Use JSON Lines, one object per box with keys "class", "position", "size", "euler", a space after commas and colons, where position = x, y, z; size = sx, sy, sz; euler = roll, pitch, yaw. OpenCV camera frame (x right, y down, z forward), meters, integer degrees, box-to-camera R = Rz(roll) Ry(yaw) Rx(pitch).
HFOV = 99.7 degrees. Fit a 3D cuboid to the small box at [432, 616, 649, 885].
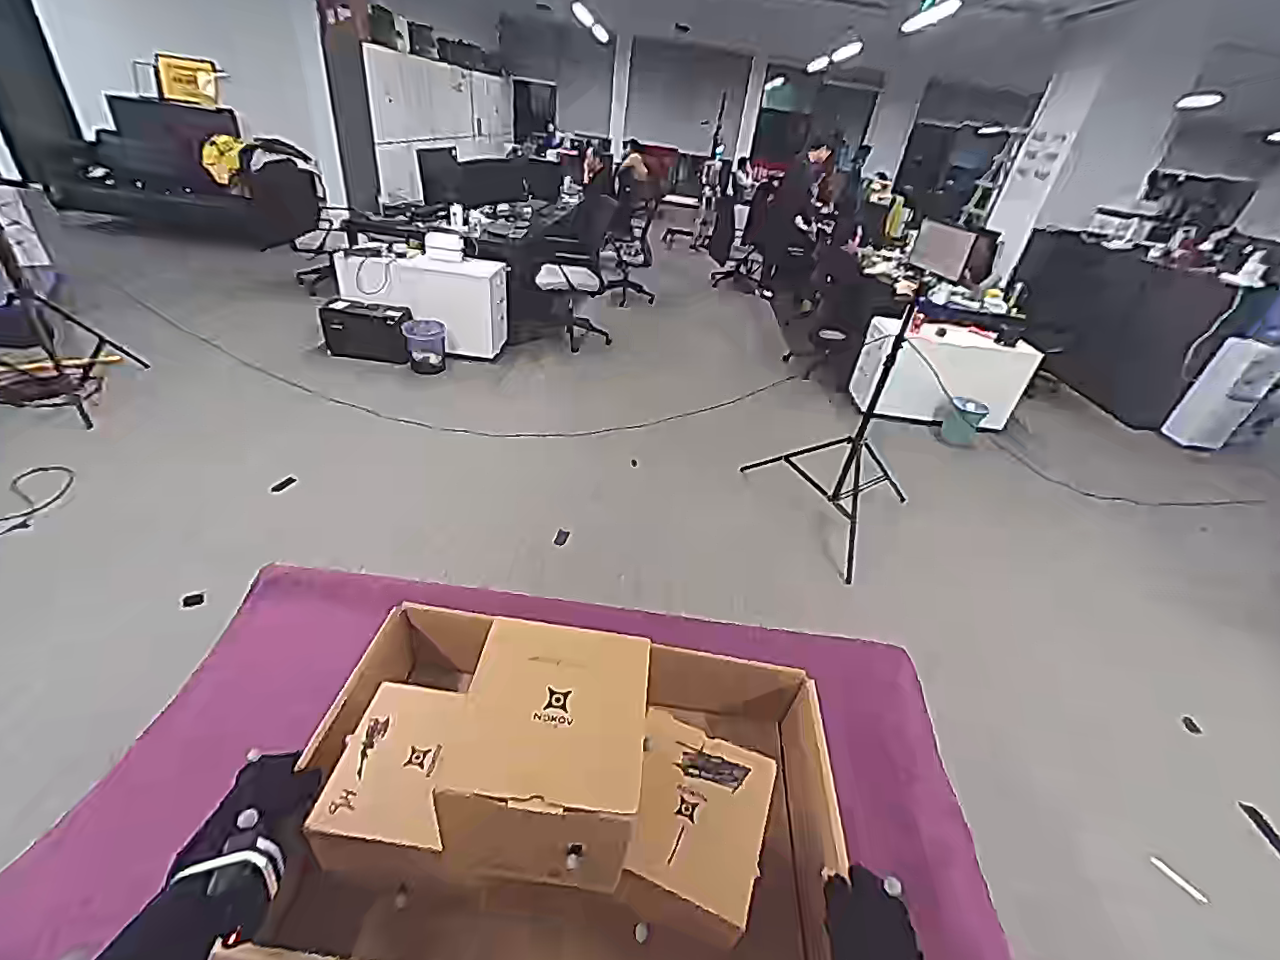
{"class": "small box", "position": [-0.088, 0.266, 0.537], "size": [0.168, 0.176, 0.179], "euler": [9, 35, -2]}
